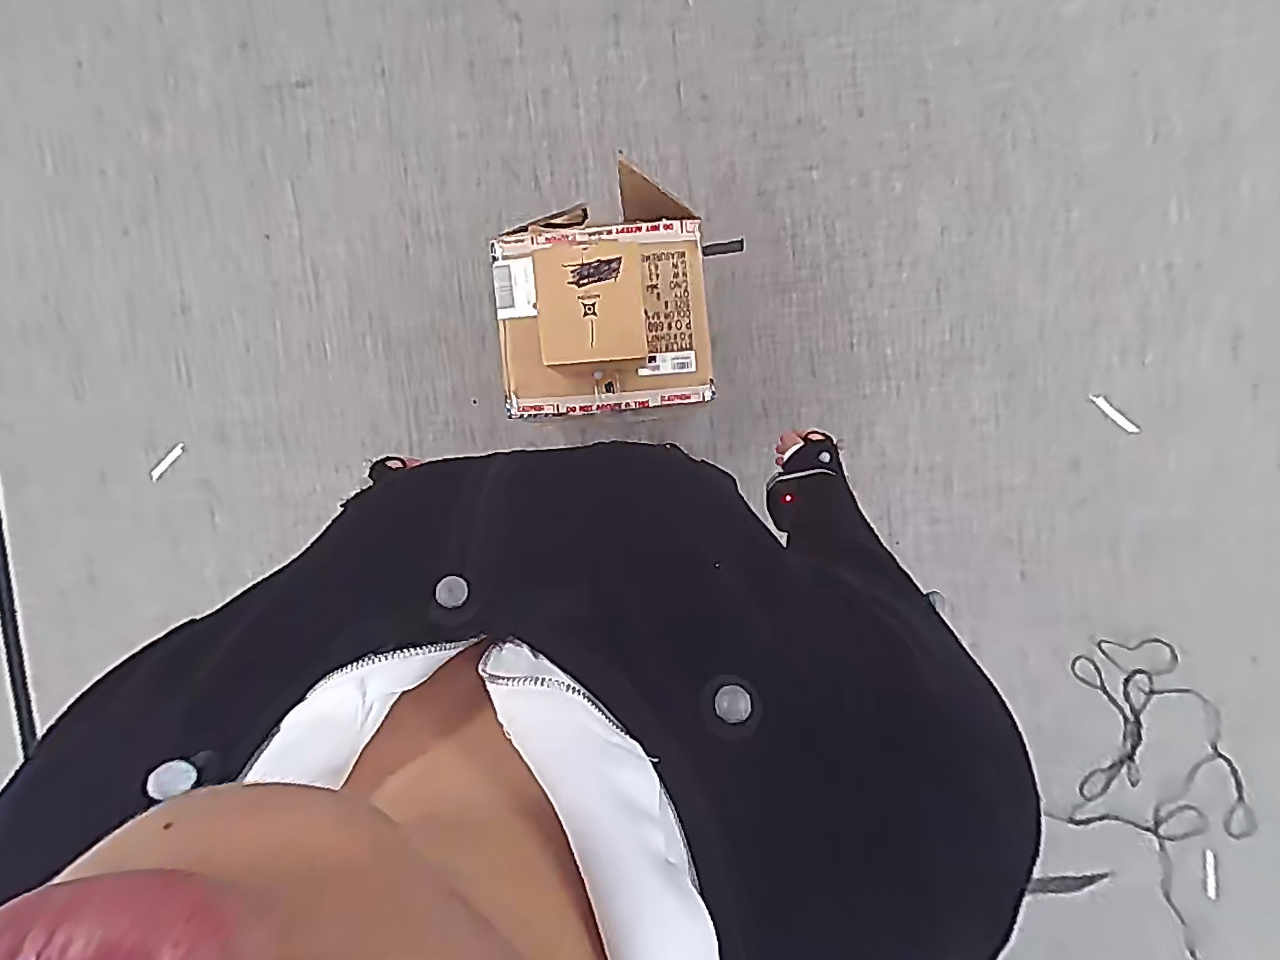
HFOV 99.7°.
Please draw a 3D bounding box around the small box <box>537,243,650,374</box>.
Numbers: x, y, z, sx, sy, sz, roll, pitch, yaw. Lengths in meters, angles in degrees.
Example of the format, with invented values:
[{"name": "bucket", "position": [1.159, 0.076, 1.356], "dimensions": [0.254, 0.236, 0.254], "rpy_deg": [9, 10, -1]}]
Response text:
[{"name": "small box", "position": [-0.072, -0.278, 0.908], "dimensions": [0.168, 0.176, 0.179], "rpy_deg": [-4, 96, 2]}]
